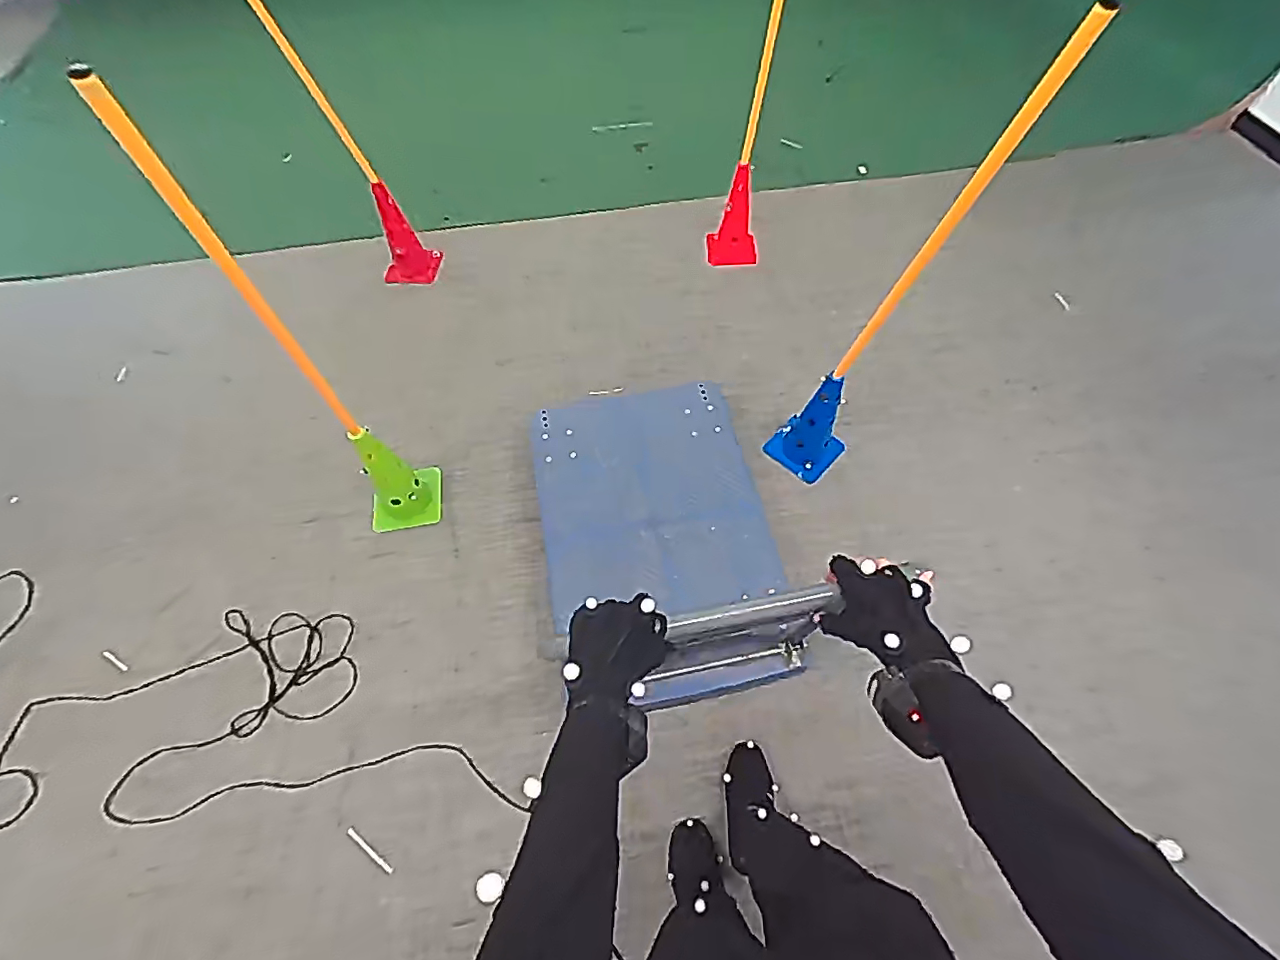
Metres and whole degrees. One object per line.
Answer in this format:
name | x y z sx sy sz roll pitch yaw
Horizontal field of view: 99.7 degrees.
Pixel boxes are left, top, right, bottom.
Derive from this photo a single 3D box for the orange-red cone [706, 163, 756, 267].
orange-red cone | 0.368 -1.025 2.068 0.198 0.360 0.199 1 61 2
